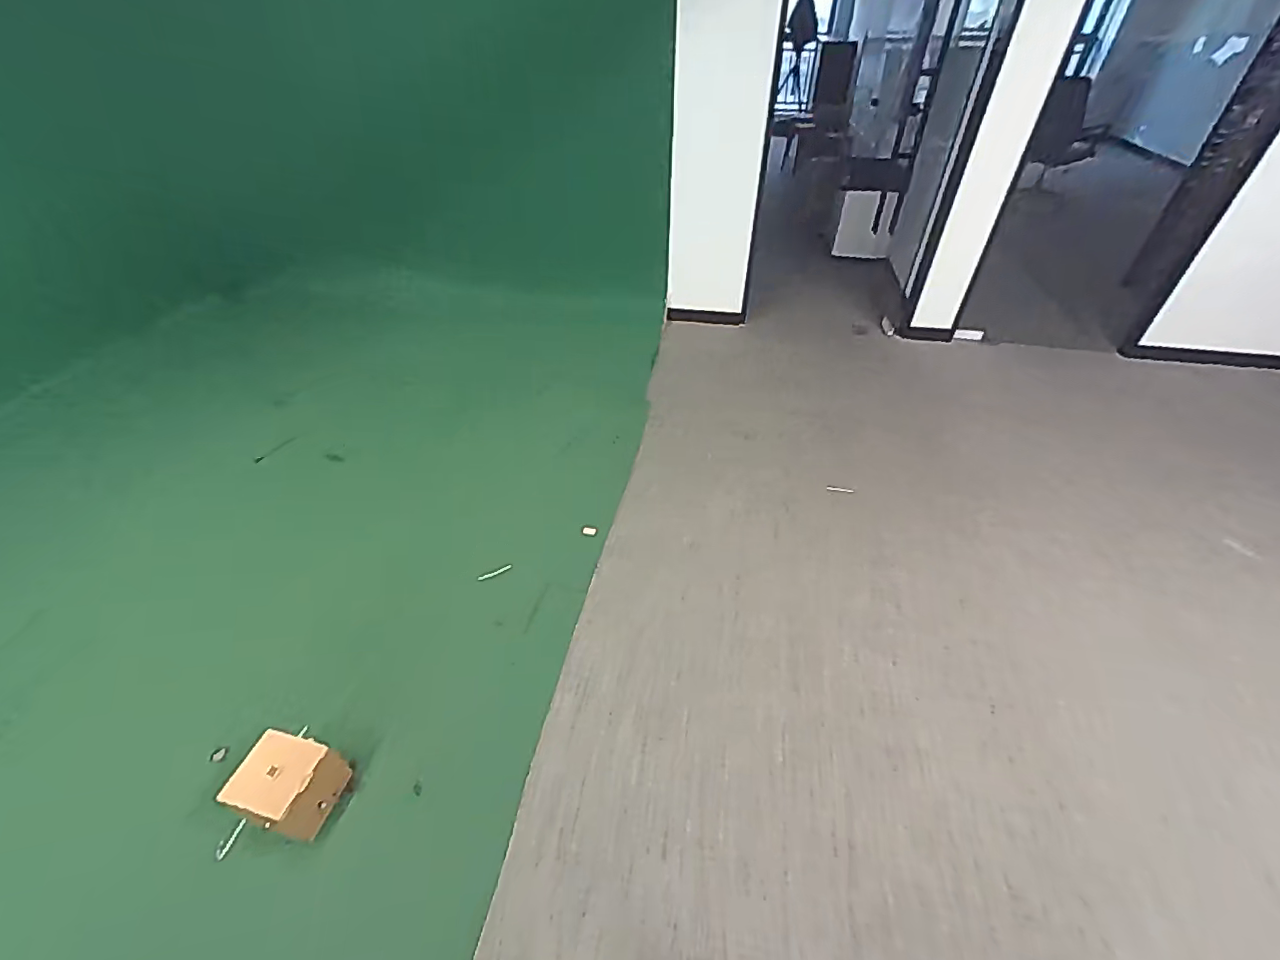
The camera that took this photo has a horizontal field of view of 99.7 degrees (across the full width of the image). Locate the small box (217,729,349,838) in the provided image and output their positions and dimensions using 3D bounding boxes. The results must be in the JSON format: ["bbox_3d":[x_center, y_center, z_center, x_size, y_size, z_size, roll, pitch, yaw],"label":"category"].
[{"bbox_3d":[-0.853,0.738,1.311,0.179,0.176,0.168,10,43,10],"label":"small box"}]
